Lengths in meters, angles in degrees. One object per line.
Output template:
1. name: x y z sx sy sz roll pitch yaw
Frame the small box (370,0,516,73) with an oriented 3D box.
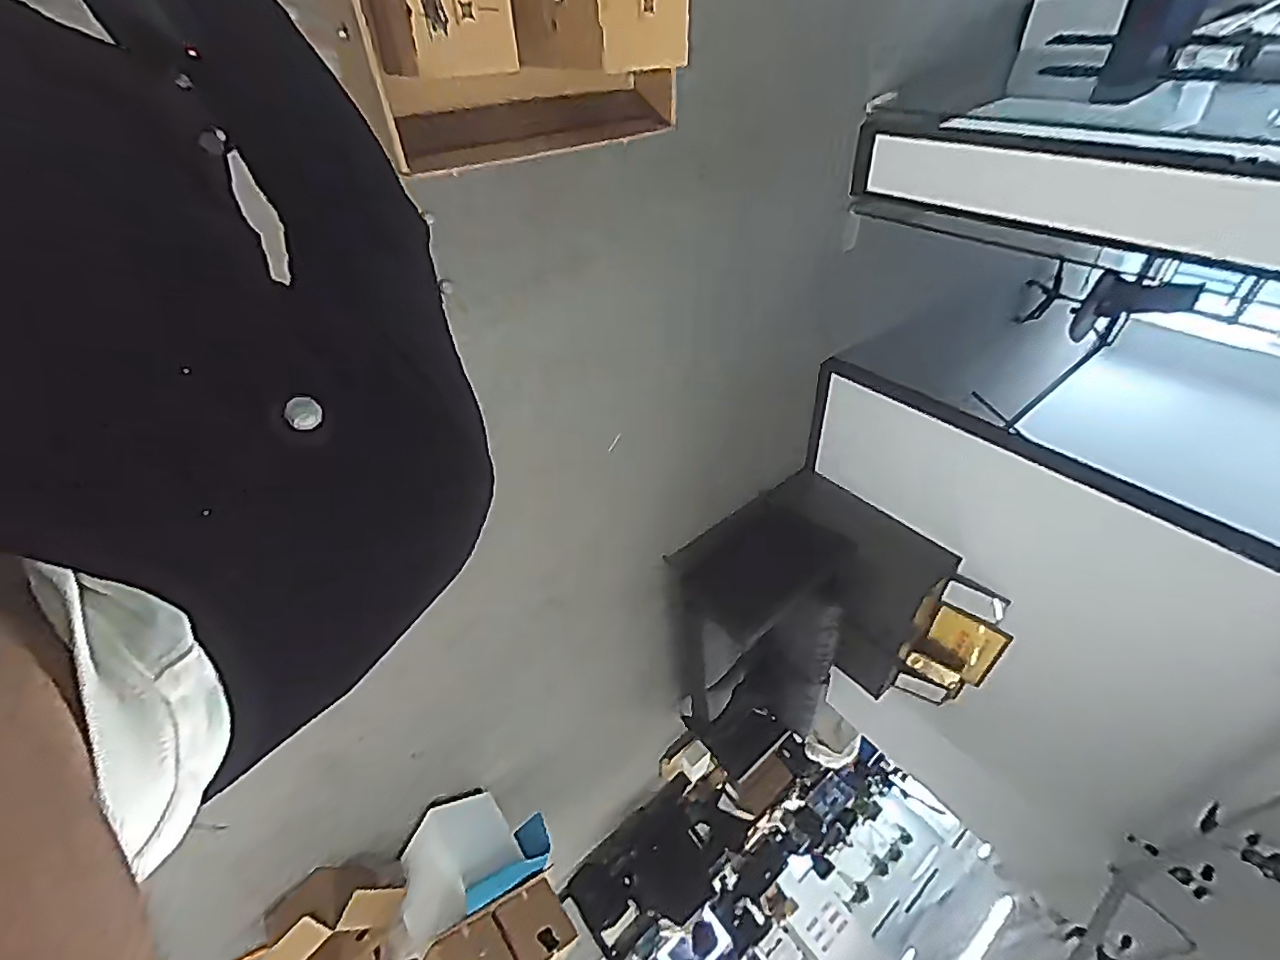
1. small box: -0.329 -0.766 0.874 0.179 0.176 0.168 -29 138 -29

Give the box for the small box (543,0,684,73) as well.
1. small box: -0.044 -0.783 0.889 0.179 0.176 0.168 -27 137 -26
